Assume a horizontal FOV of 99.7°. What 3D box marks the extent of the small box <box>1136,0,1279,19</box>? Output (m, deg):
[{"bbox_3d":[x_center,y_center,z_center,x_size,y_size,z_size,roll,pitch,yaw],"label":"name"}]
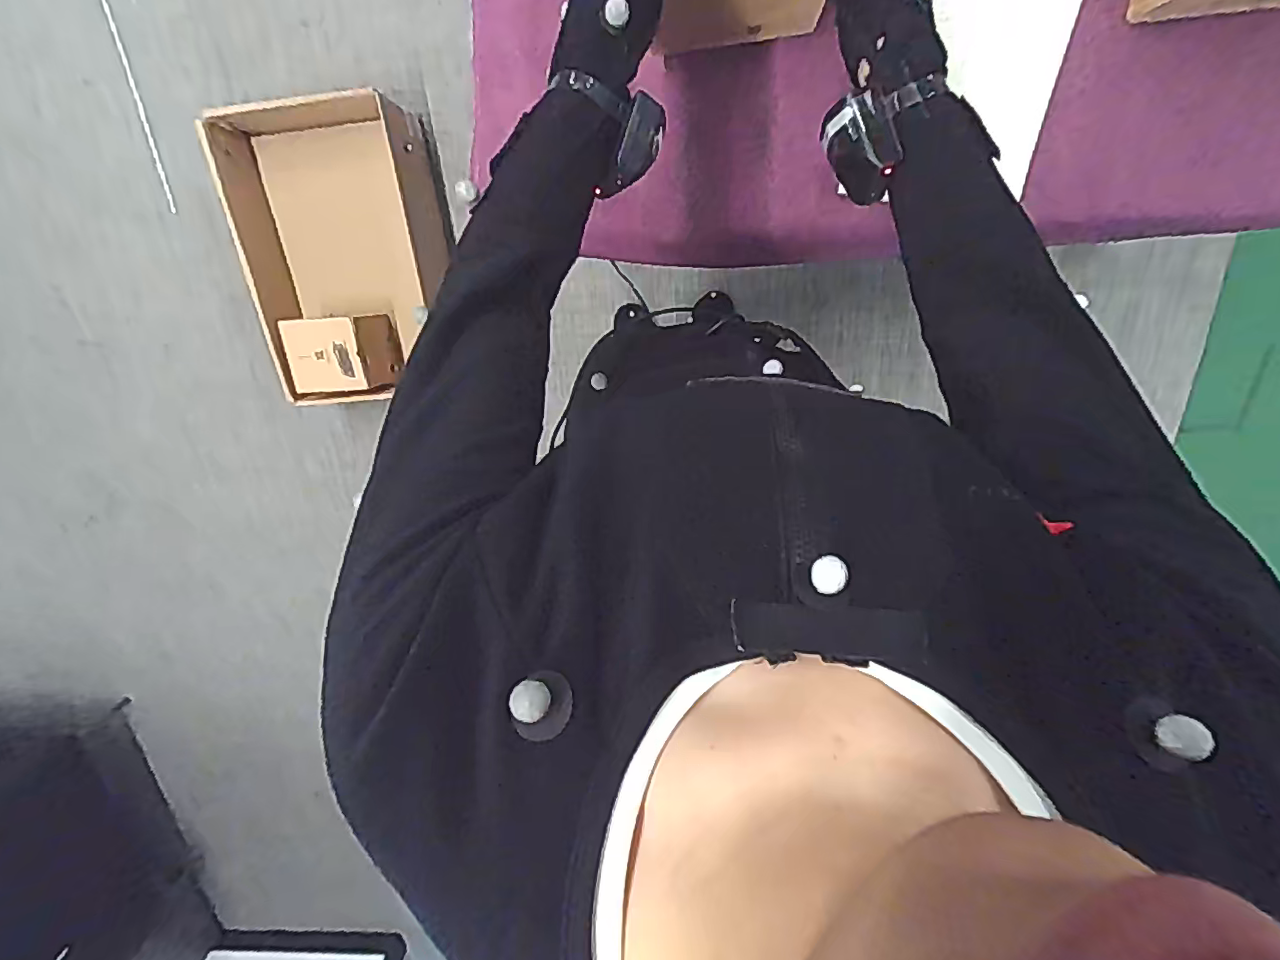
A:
[{"bbox_3d":[0.558,-0.513,0.437,0.168,0.176,0.179,-3,109,5],"label":"small box"}]
